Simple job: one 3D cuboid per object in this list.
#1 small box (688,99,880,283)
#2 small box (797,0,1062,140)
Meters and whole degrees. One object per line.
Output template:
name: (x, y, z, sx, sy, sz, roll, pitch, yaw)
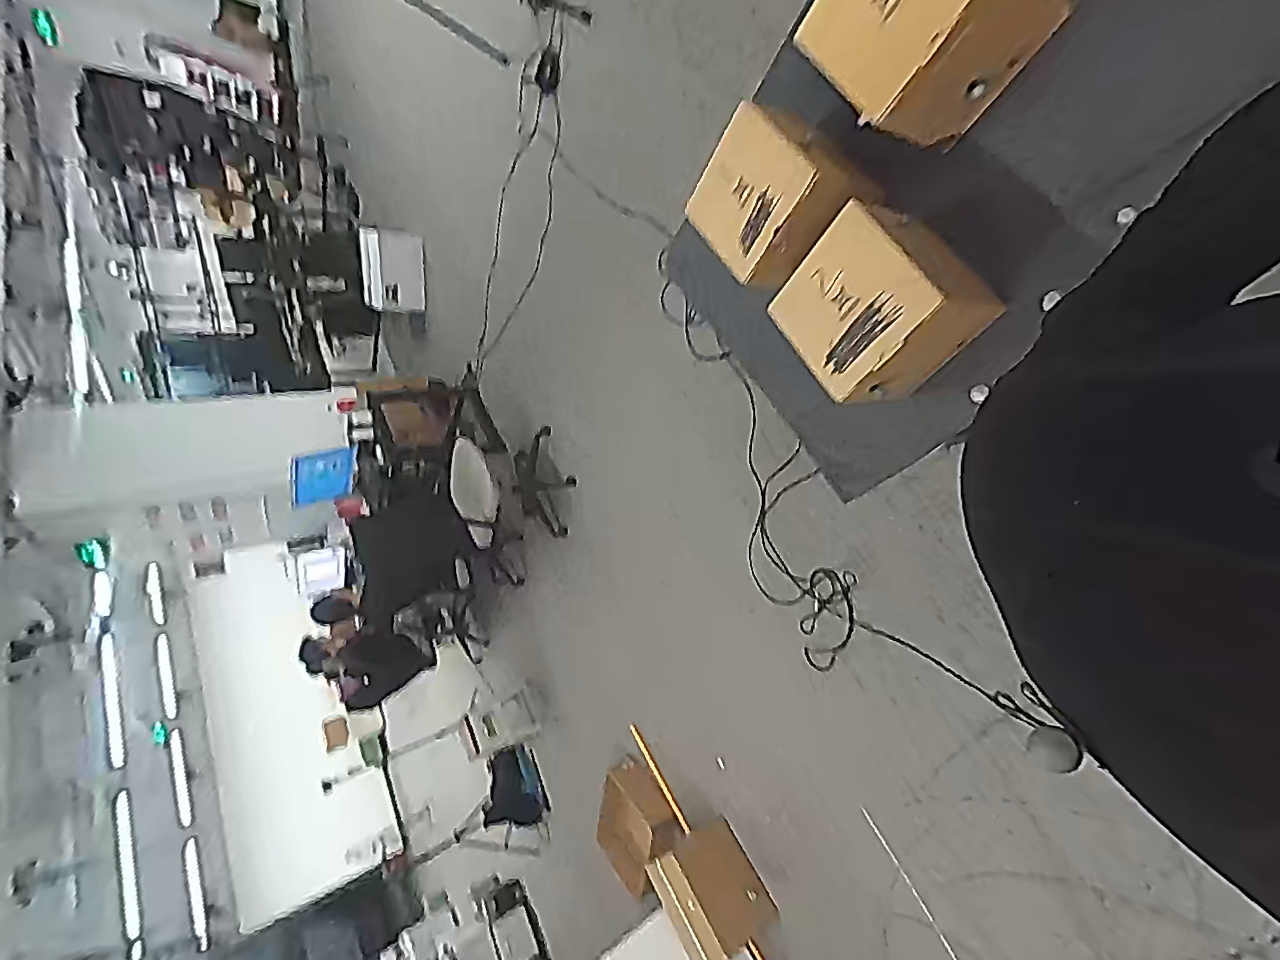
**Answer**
small box: (0.210, -0.412, 0.795, 0.179, 0.176, 0.168, 60, 139, 23)
small box: (0.324, -0.525, 0.617, 0.179, 0.176, 0.168, 61, 140, 20)
